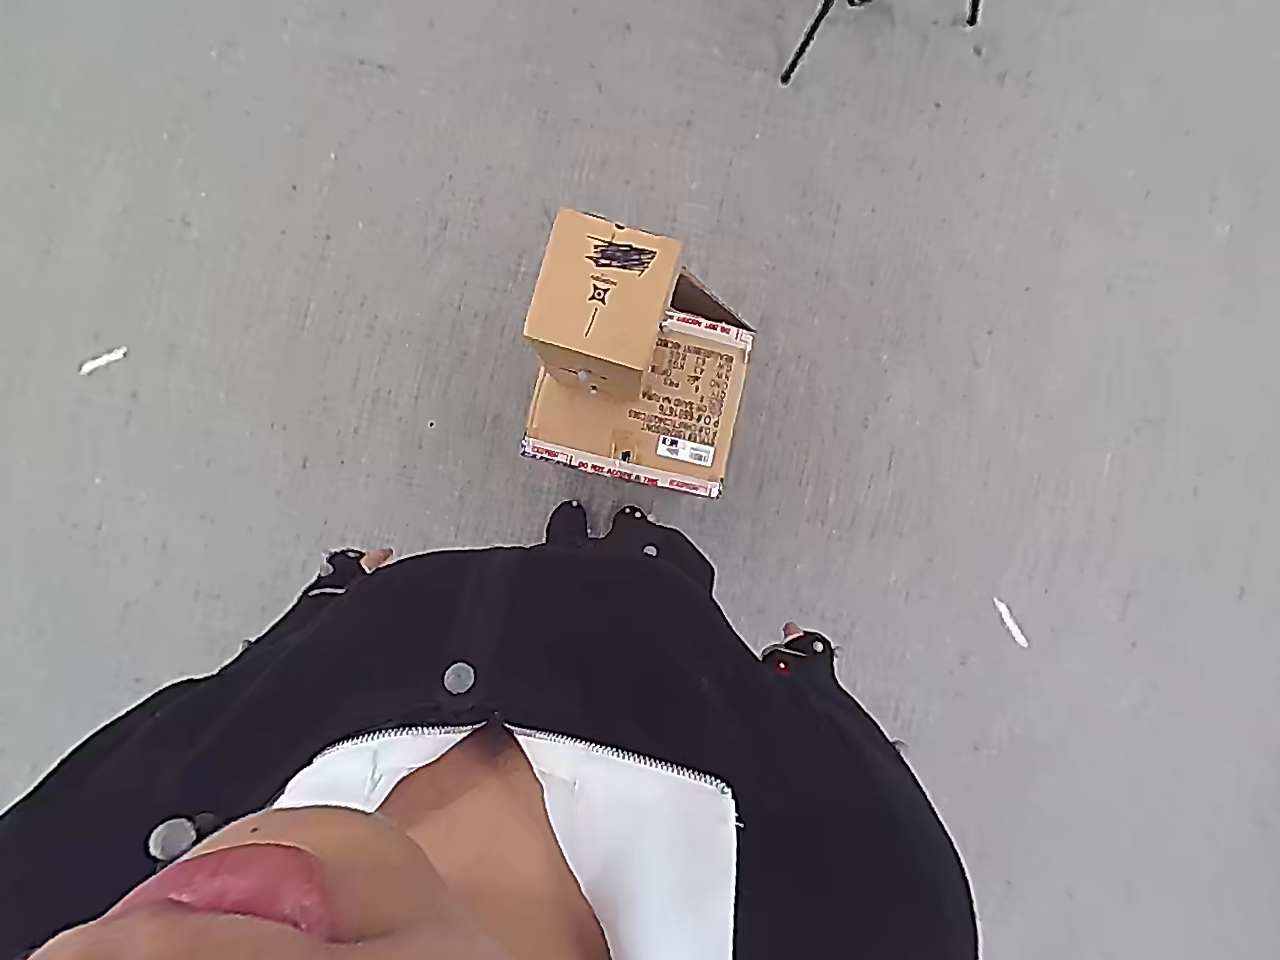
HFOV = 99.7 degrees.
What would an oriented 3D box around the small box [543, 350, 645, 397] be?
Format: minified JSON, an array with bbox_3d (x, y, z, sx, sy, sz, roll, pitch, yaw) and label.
[{"bbox_3d":[-0.057,-0.255,0.935,0.168,0.176,0.179,13,91,-1],"label":"small box"}]

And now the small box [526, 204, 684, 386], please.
[{"bbox_3d":[-0.047,-0.249,0.771,0.168,0.176,0.179,17,91,-1],"label":"small box"}]
